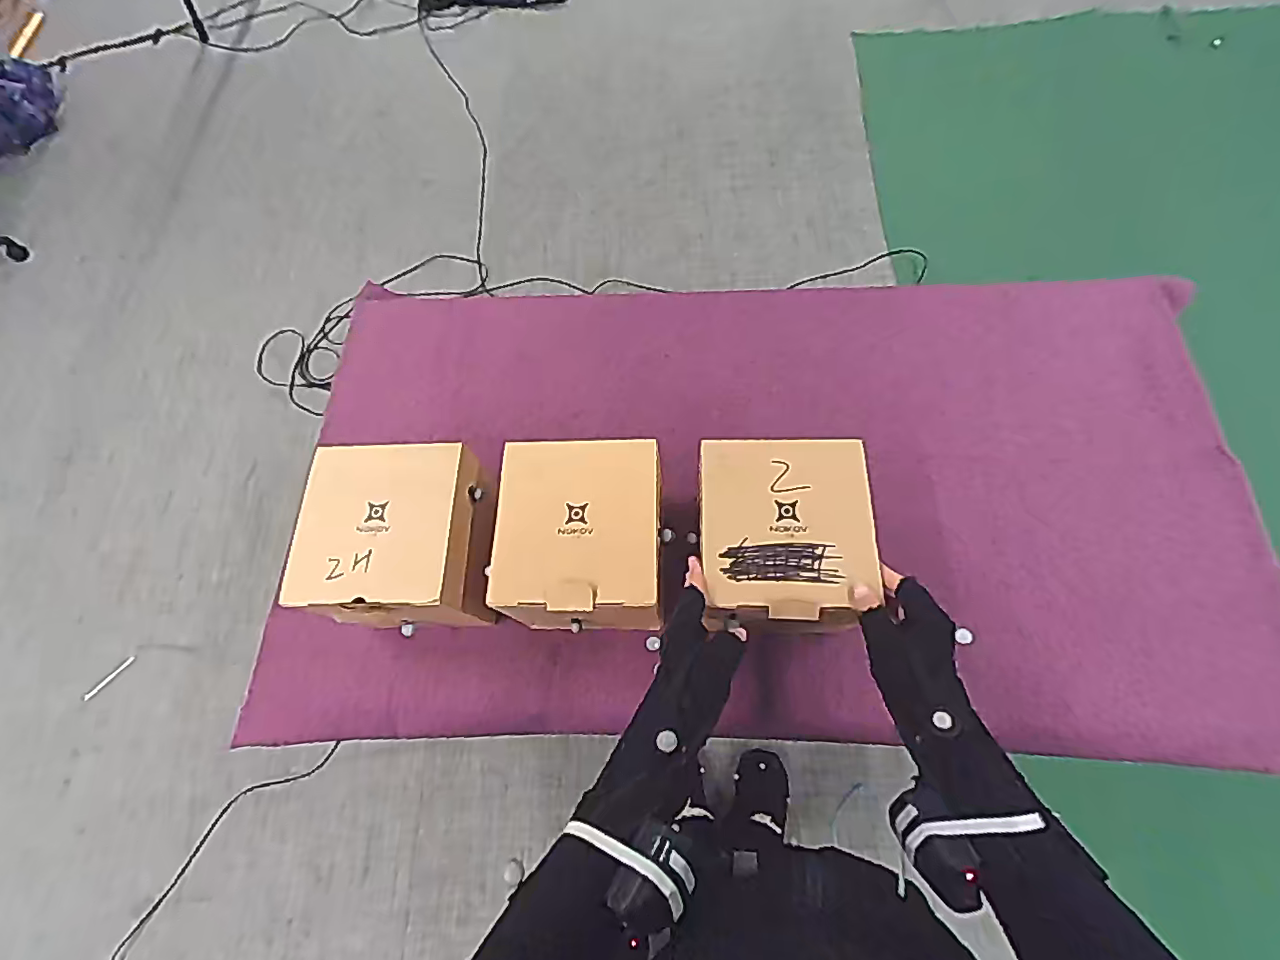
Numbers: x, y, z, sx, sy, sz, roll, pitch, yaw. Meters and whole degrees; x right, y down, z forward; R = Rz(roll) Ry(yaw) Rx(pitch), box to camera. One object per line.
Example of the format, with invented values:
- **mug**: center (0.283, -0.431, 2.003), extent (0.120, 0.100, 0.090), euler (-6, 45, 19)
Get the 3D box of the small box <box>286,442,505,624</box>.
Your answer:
- **small box**: center (-0.267, 0.069, 0.638), extent (0.168, 0.176, 0.179), euler (-2, 68, 4)
